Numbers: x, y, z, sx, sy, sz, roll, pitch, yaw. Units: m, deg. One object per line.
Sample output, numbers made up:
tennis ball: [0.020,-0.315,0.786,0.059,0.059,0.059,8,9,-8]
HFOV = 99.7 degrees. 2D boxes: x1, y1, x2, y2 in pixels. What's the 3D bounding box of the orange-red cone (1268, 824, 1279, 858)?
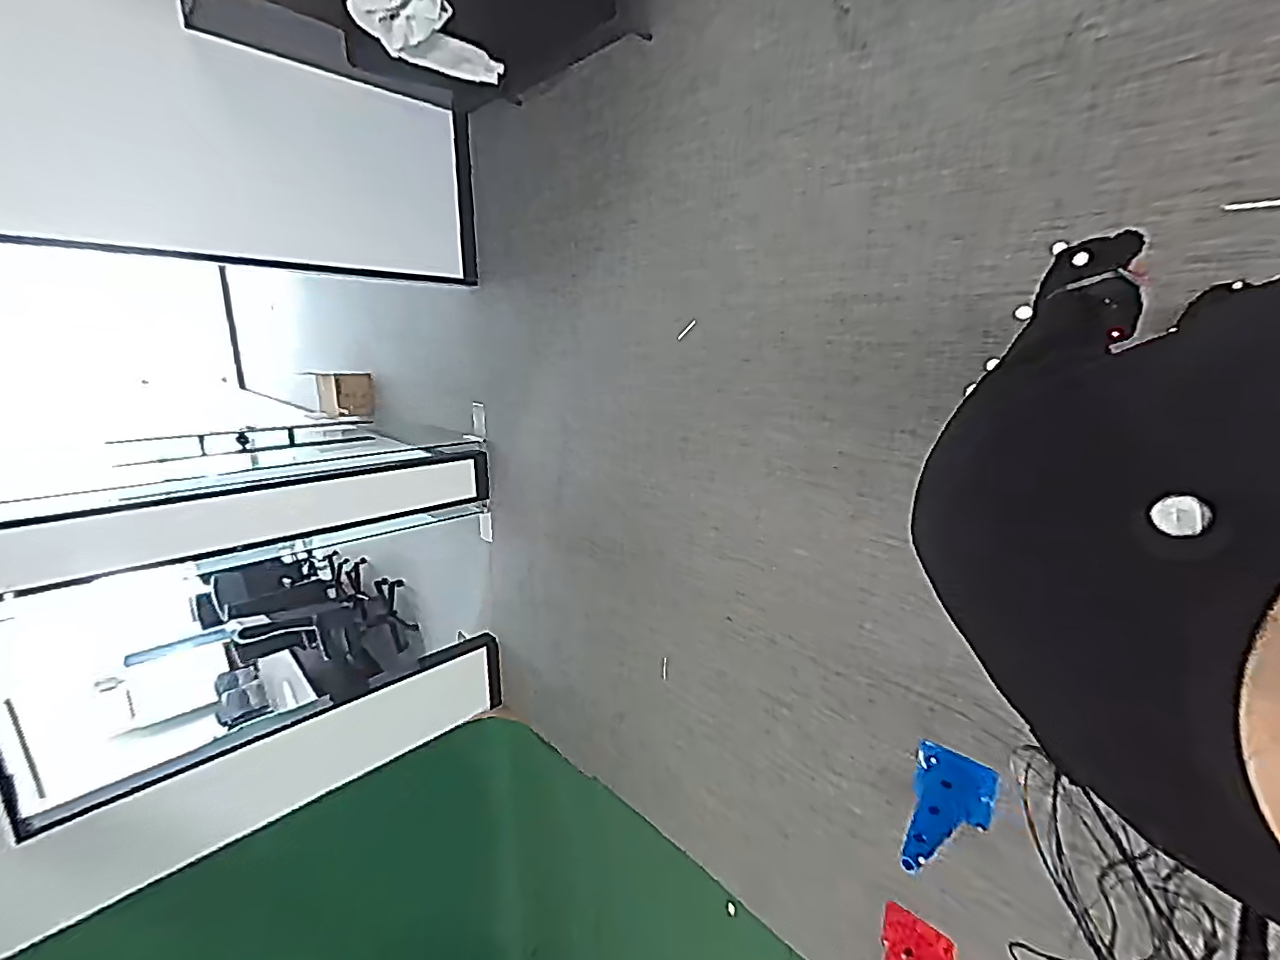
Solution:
orange-red cone: [1.230,0.725,0.900,0.198,0.360,0.199,22,116,43]
